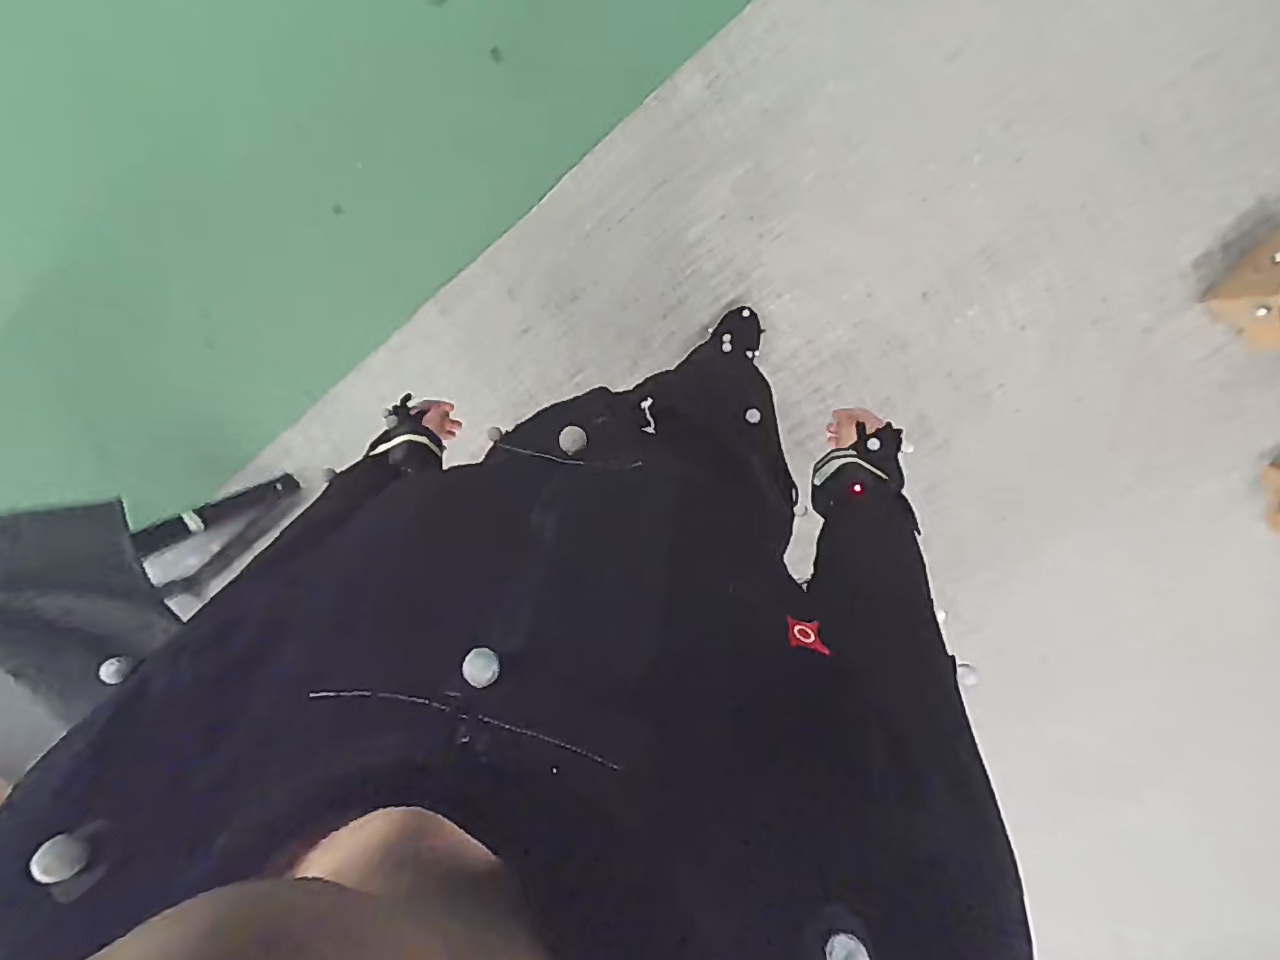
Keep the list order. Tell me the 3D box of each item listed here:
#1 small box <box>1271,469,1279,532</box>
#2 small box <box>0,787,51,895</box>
[{"bbox_3d":[1.515,0.046,1.140,0.179,0.176,0.168,-17,104,10],"label":"small box"},{"bbox_3d":[-1.040,0.571,0.790,0.168,0.176,0.179,42,107,-5],"label":"small box"}]
